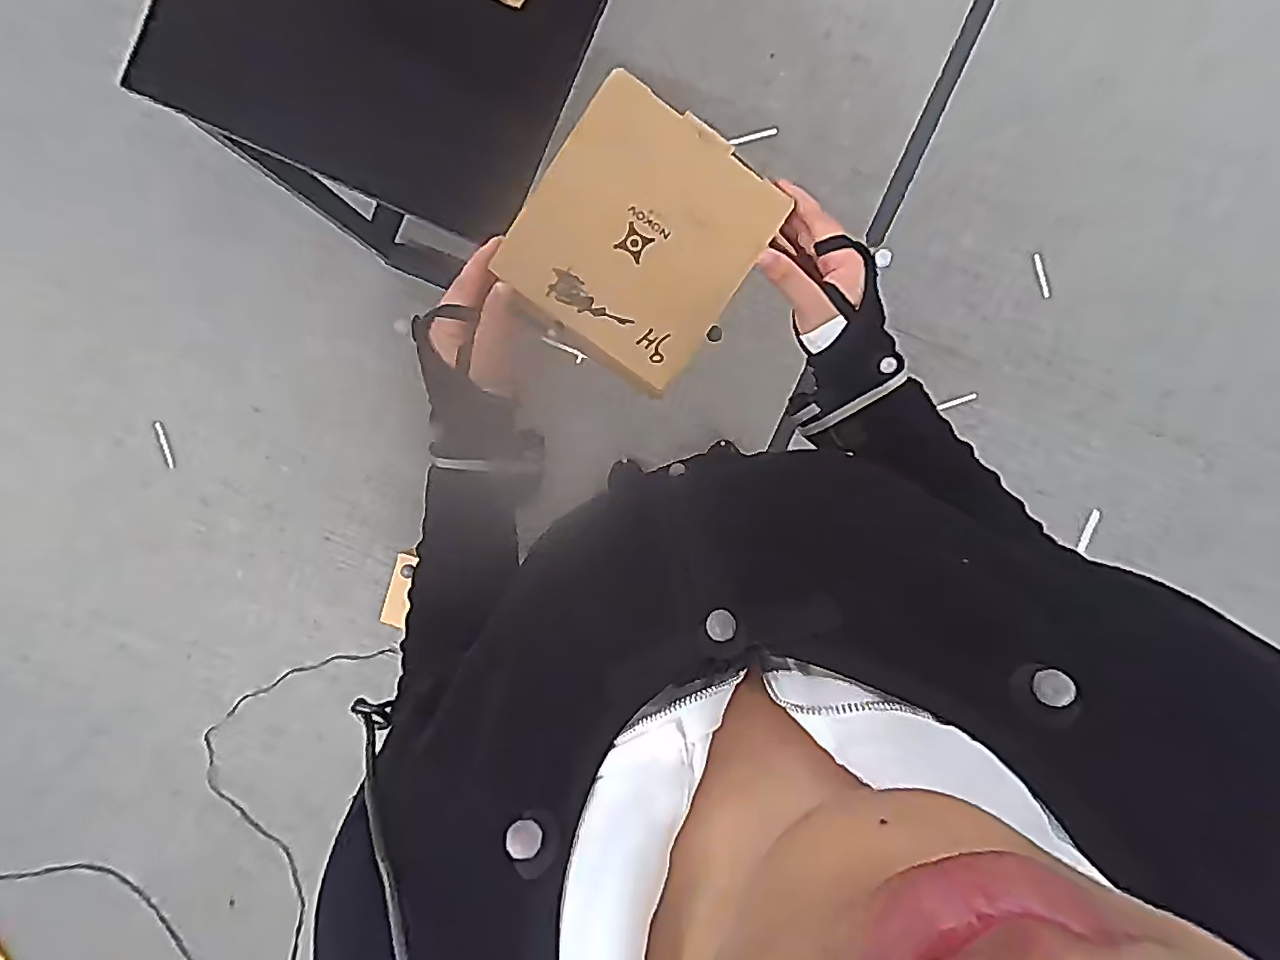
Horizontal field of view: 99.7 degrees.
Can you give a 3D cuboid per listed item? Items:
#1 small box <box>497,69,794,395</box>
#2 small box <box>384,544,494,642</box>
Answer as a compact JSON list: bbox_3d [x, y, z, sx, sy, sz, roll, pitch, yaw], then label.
[{"bbox_3d":[0.000,-0.195,0.487,0.168,0.176,0.179,35,93,-5],"label":"small box"},{"bbox_3d":[-0.470,0.260,1.293,0.179,0.176,0.168,17,92,2],"label":"small box"}]
